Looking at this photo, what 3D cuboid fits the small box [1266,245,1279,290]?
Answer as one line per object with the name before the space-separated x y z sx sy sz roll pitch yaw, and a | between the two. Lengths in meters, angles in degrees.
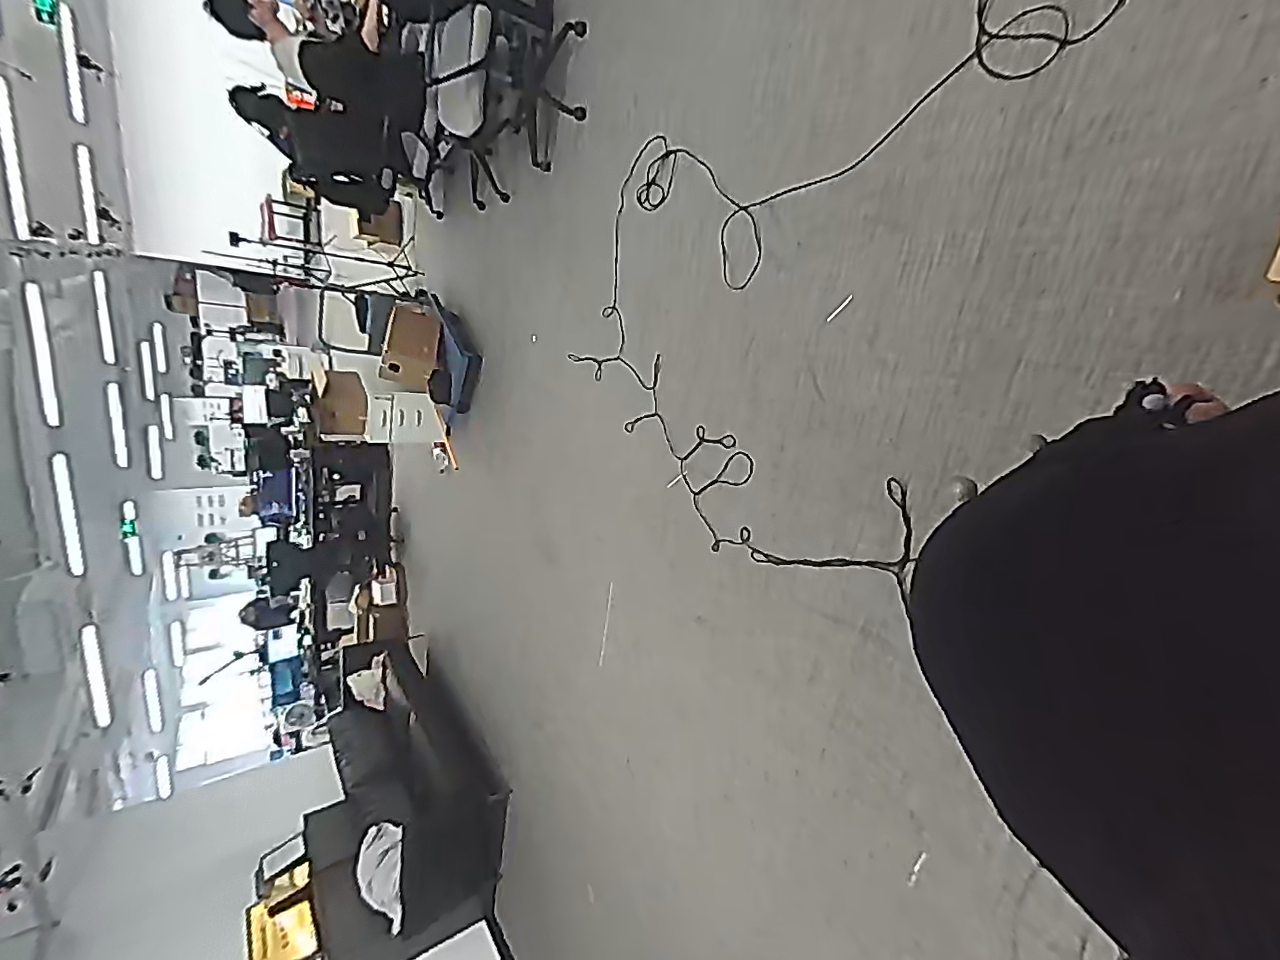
small box | 1.070 -0.364 0.778 0.179 0.176 0.168 26 115 49
